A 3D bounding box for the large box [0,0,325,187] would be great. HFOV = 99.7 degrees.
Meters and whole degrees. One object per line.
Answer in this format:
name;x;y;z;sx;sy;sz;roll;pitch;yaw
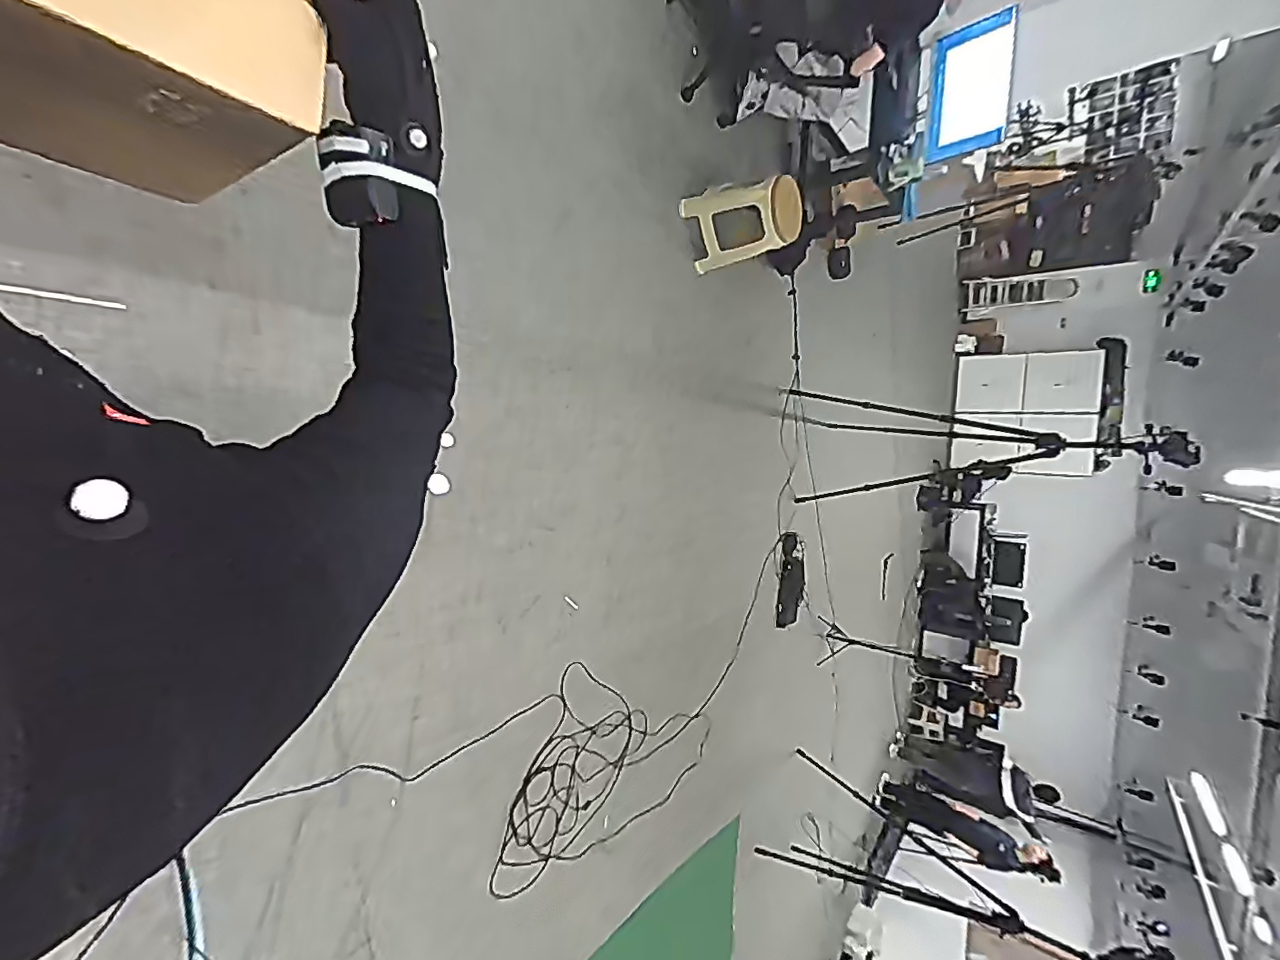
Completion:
large box;-0.456;-0.432;0.314;0.408;0.320;0.320;0;99;-52
